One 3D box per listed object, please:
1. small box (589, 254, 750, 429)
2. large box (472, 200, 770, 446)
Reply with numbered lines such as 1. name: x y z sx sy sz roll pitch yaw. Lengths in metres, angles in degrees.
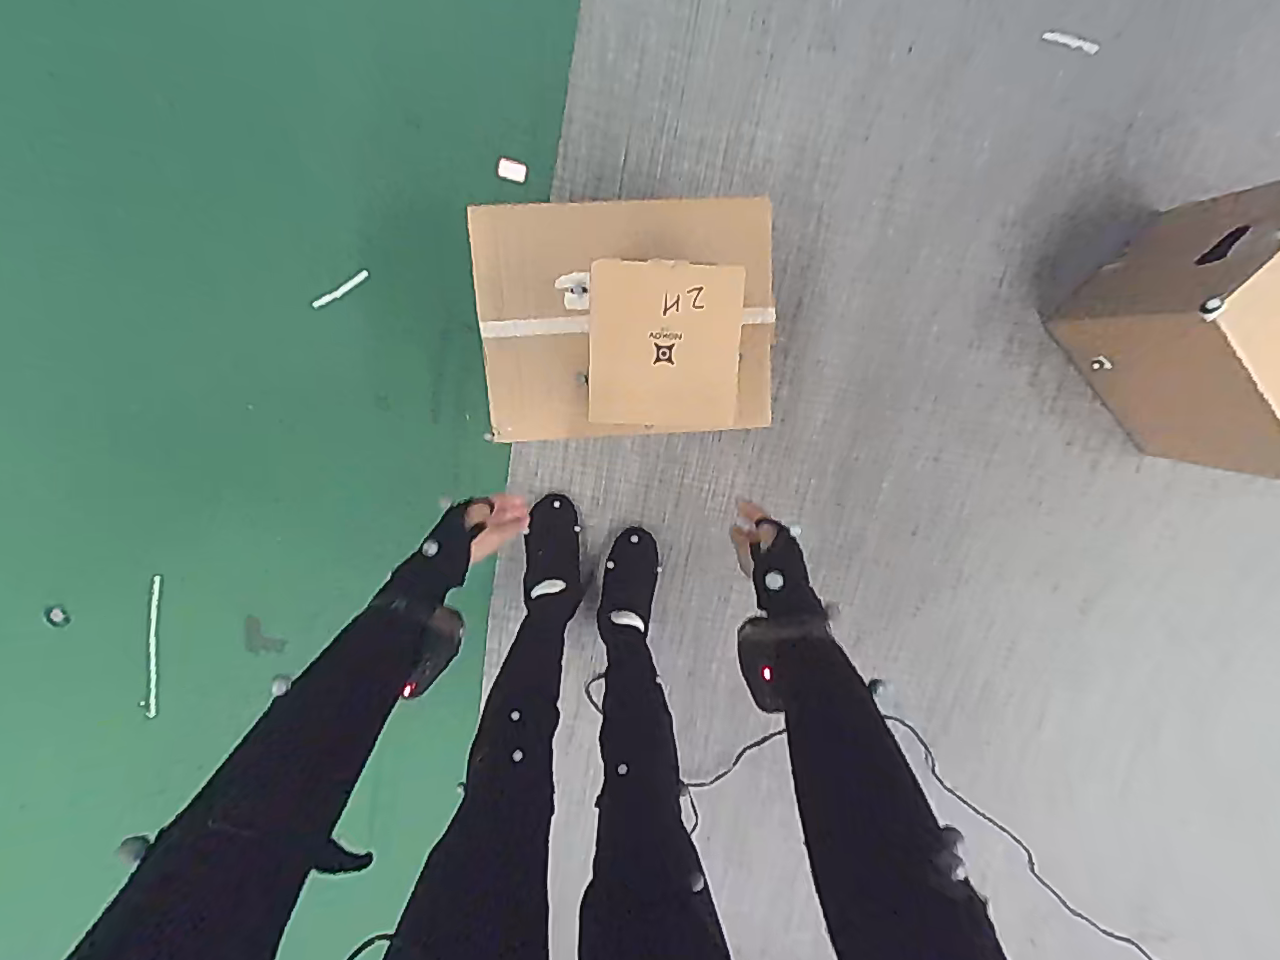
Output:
1. small box: 0.023 -0.163 0.660 0.168 0.176 0.179 2 102 -7
2. large box: -0.023 -0.244 0.893 0.408 0.320 0.320 -4 101 -3
